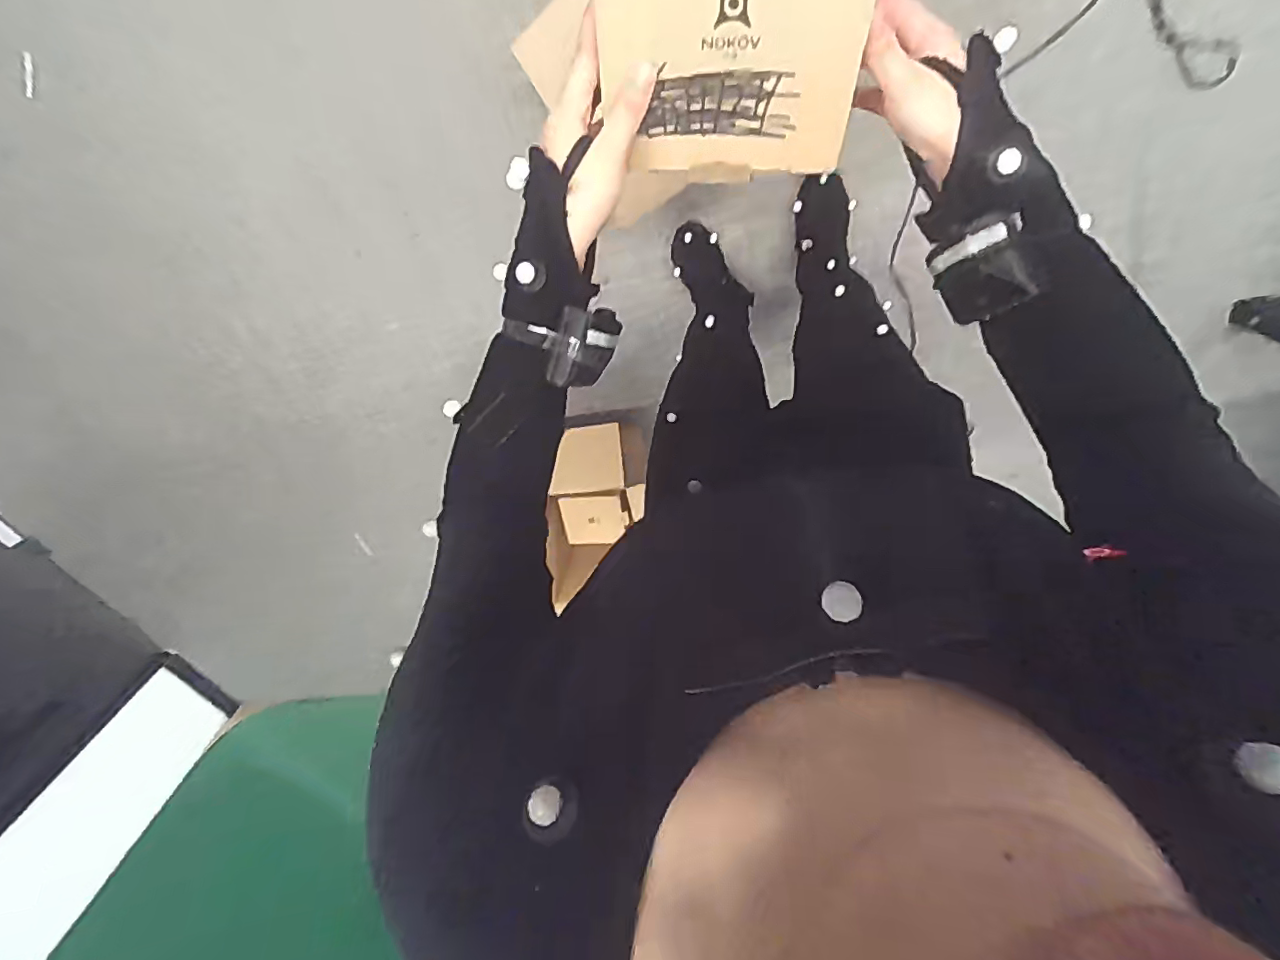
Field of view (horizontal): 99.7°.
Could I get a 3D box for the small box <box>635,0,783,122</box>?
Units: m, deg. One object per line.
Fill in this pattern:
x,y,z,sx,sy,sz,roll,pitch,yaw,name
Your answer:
0.093,-0.595,0.713,0.168,0.176,0.179,9,129,1,small box
